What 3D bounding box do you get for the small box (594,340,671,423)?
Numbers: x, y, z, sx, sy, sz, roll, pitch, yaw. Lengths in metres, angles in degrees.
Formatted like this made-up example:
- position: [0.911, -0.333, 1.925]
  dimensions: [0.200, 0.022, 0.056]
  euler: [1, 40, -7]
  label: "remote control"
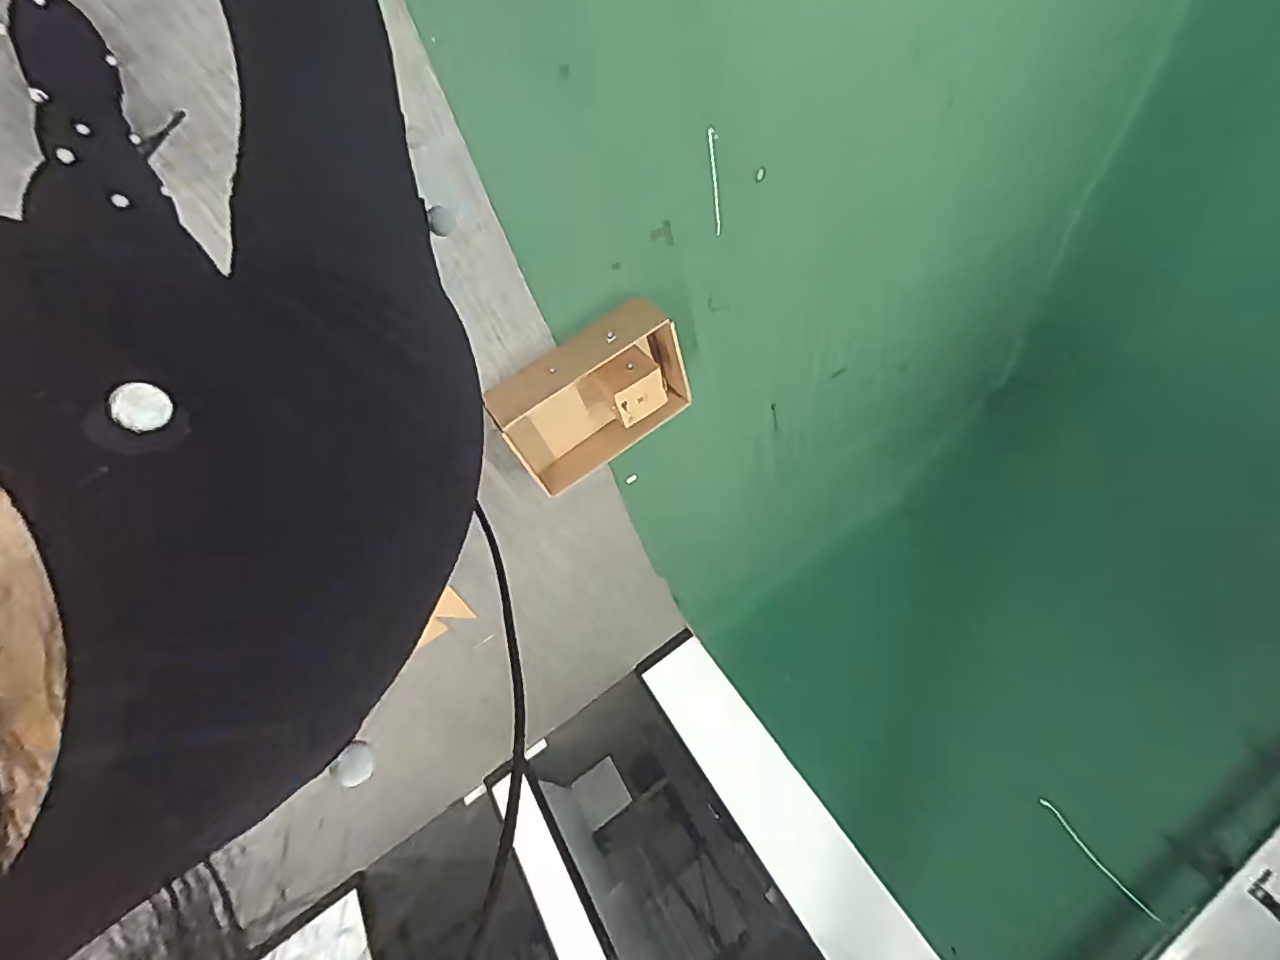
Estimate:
- position: [-0.023, -0.329, 1.780]
  dimensions: [0.179, 0.176, 0.168]
  euler: [-34, 146, -8]
  label: "small box"
